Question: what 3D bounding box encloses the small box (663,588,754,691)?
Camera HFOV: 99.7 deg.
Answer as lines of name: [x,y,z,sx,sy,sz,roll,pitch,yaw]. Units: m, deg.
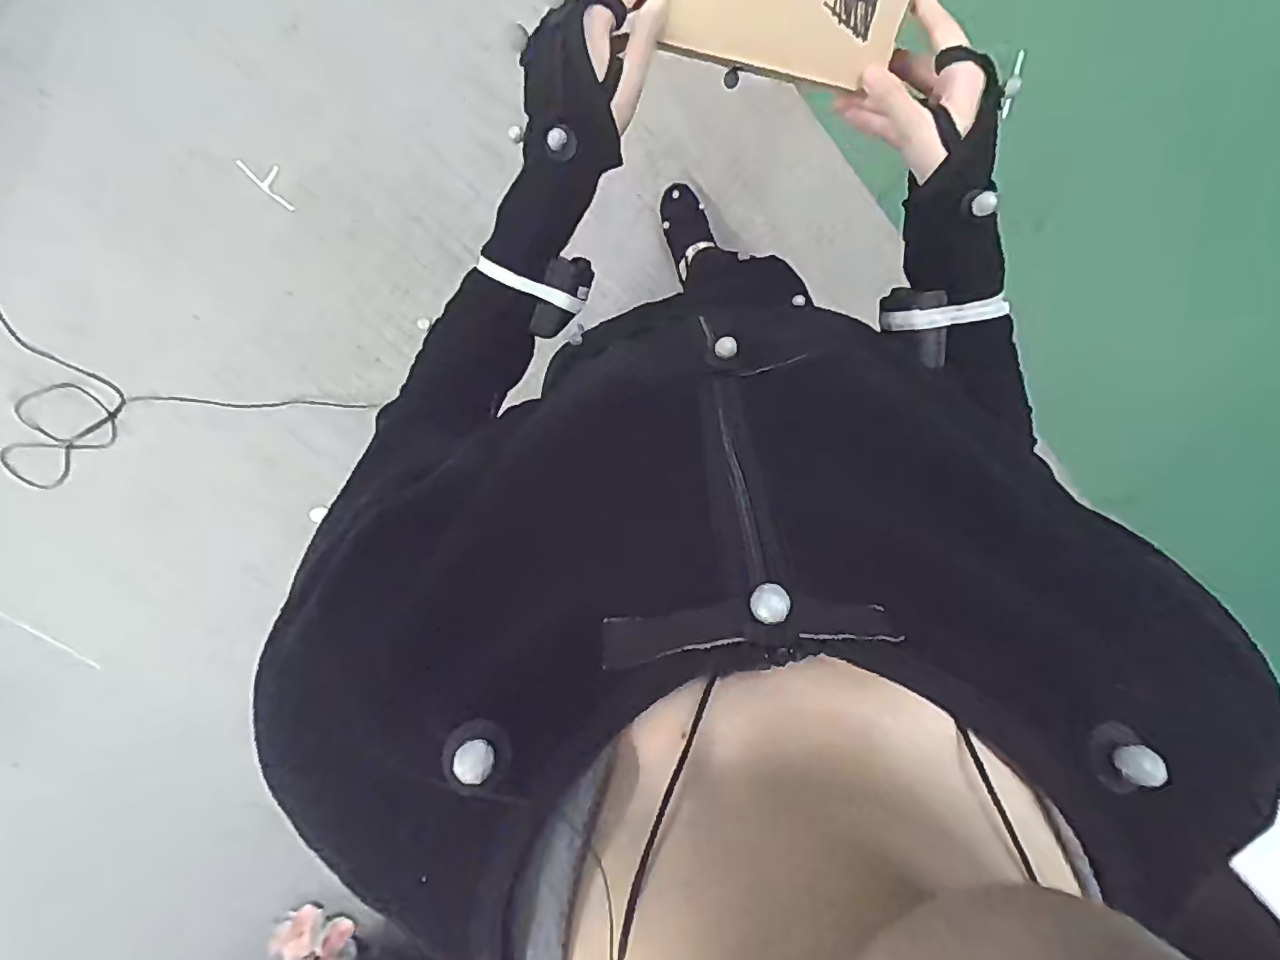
small box: [0.174,0.414,1.439,0.168,0.176,0.179,-39,108,17]
